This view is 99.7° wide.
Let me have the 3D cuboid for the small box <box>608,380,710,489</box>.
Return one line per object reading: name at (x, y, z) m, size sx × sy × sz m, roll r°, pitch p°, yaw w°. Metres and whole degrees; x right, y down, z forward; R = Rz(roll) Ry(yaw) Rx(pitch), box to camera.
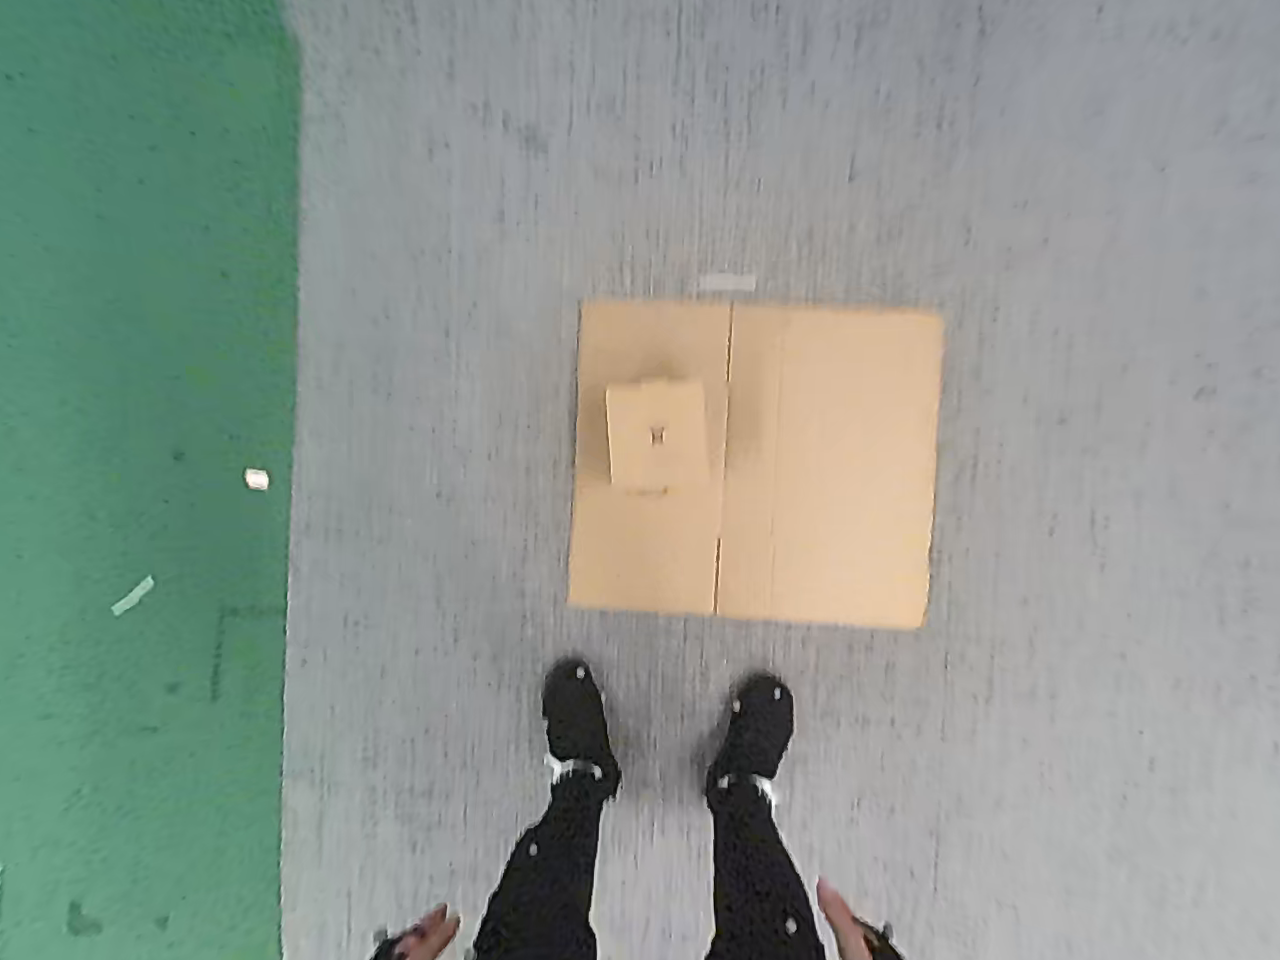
small box at (0.035, -0.076, 0.978) m, size 0.168 × 0.176 × 0.179 m, roll -3°, pitch 91°, yaw 4°
